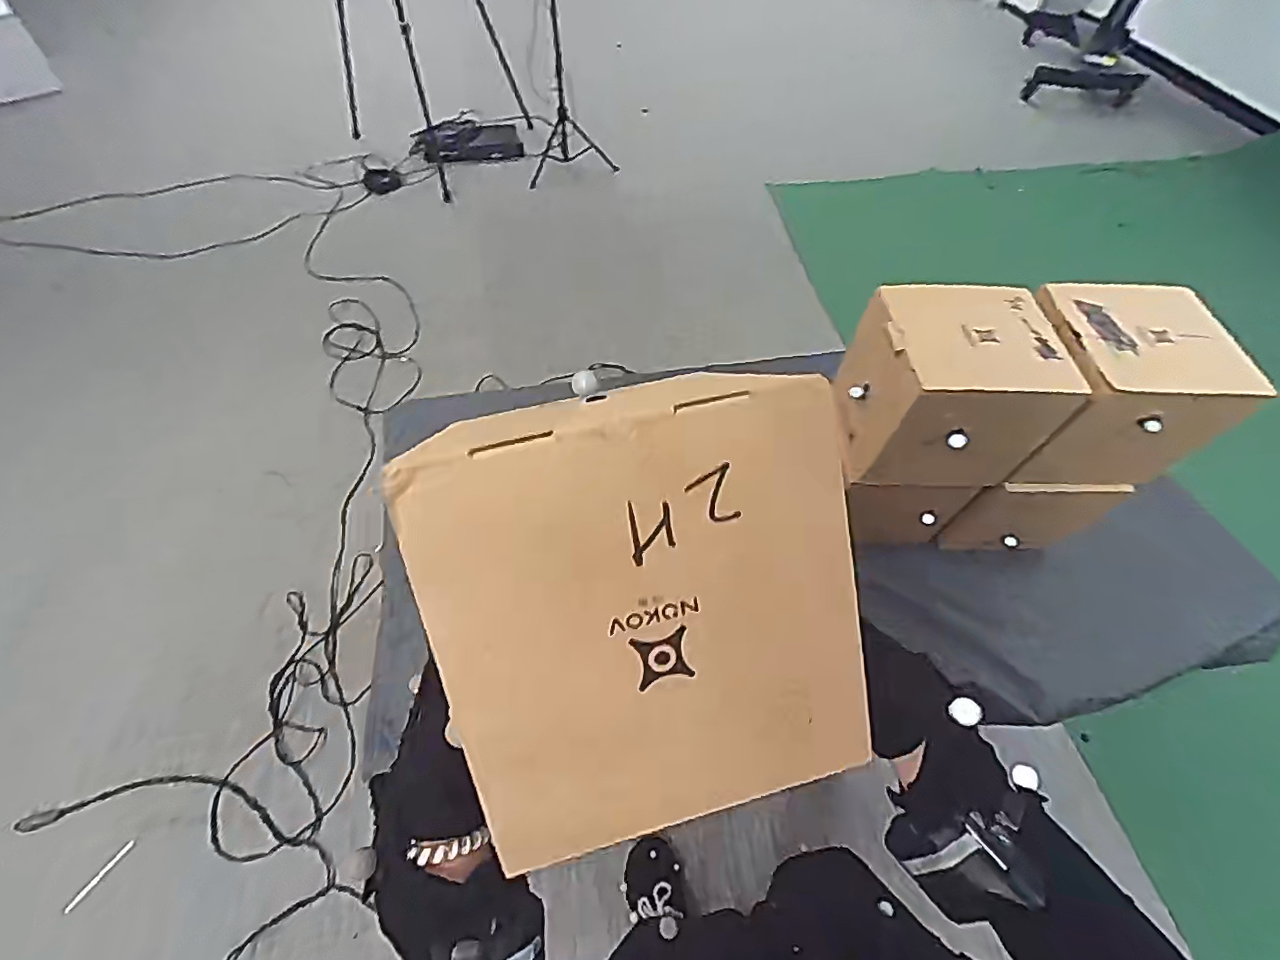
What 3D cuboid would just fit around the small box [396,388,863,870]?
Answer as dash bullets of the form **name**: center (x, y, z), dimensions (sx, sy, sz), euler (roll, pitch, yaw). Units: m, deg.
- **small box**: center (-0.006, 0.050, 0.296), dimensions (0.168, 0.176, 0.179), euler (-13, 101, -8)
